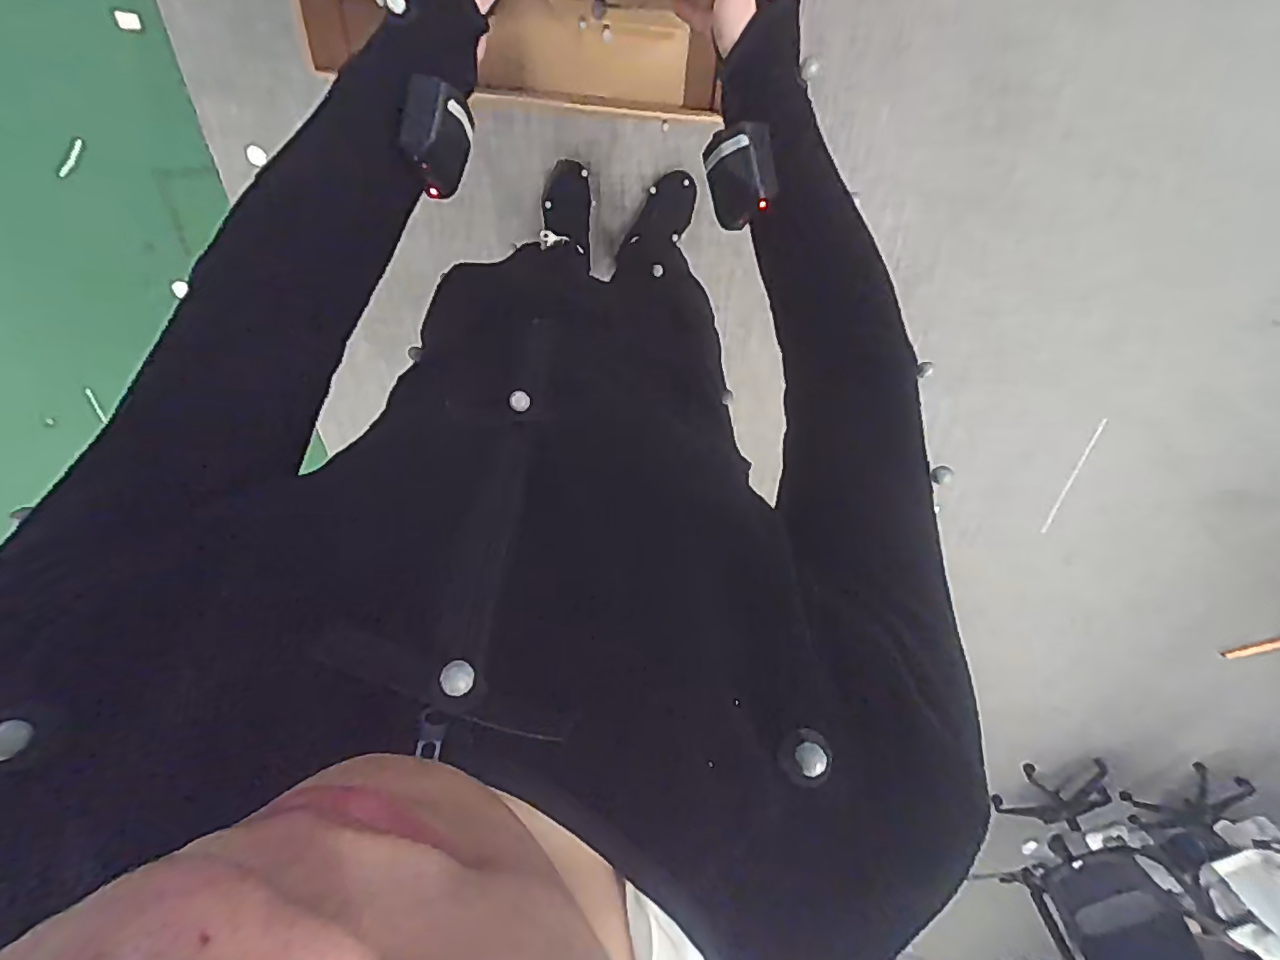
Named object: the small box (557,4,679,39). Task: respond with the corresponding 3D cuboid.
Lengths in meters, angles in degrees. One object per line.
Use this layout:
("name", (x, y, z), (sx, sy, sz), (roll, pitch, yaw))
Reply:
("small box", (-0.017, -0.722, 0.733), (0.168, 0.176, 0.179), (5, 125, -3))

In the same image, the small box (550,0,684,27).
("small box", (-0.017, -0.628, 0.598), (0.168, 0.176, 0.179), (4, 124, -3))

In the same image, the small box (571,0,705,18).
("small box", (-0.014, -0.522, 0.455), (0.168, 0.176, 0.179), (6, 126, -4))
